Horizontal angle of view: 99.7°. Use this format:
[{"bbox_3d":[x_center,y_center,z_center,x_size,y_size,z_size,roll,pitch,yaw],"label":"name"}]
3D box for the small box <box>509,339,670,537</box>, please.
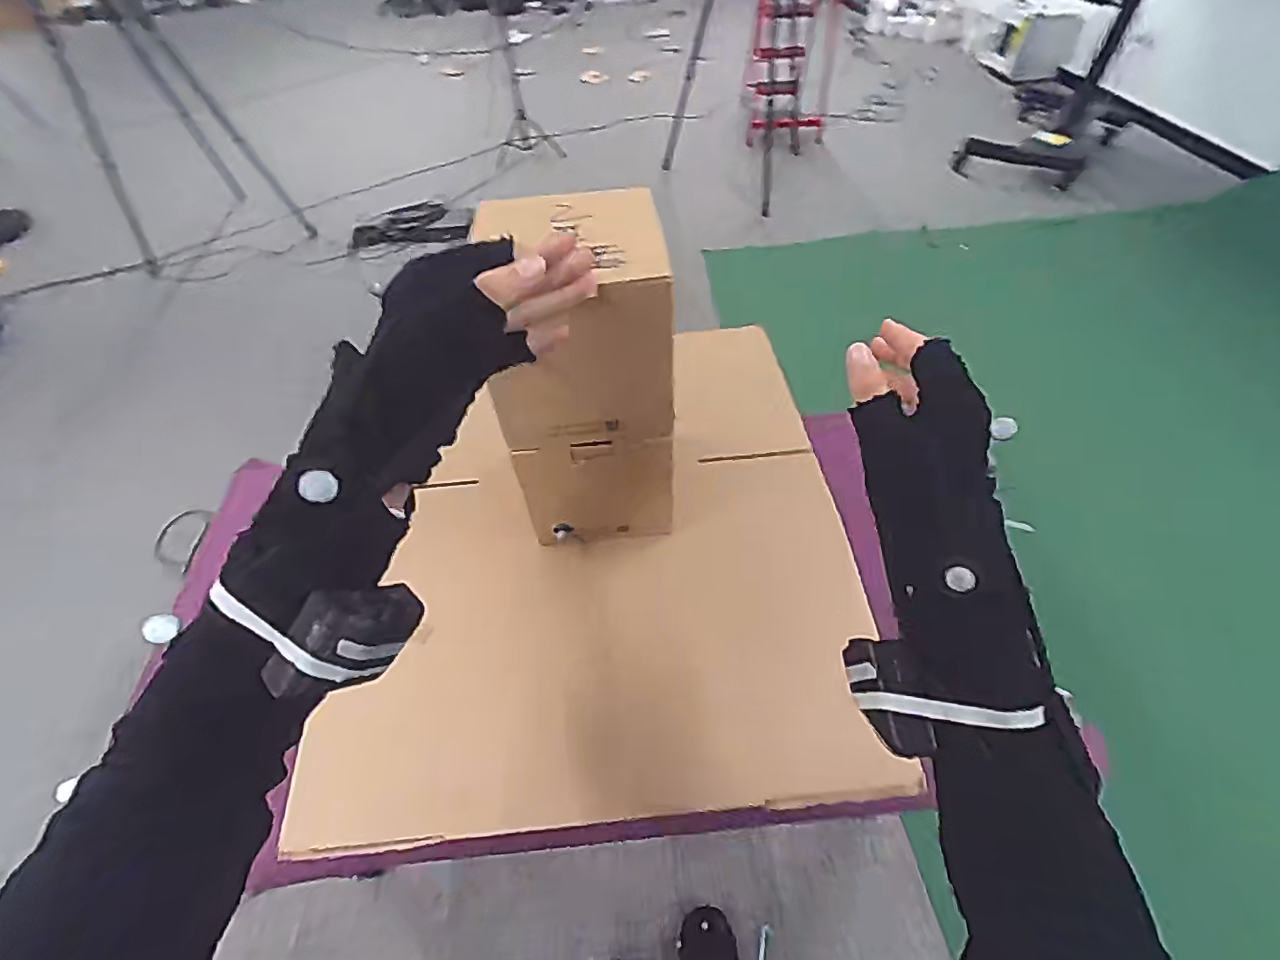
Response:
[{"bbox_3d":[-0.054,-0.044,0.656,0.168,0.176,0.179,-6,49,-2],"label":"small box"}]
